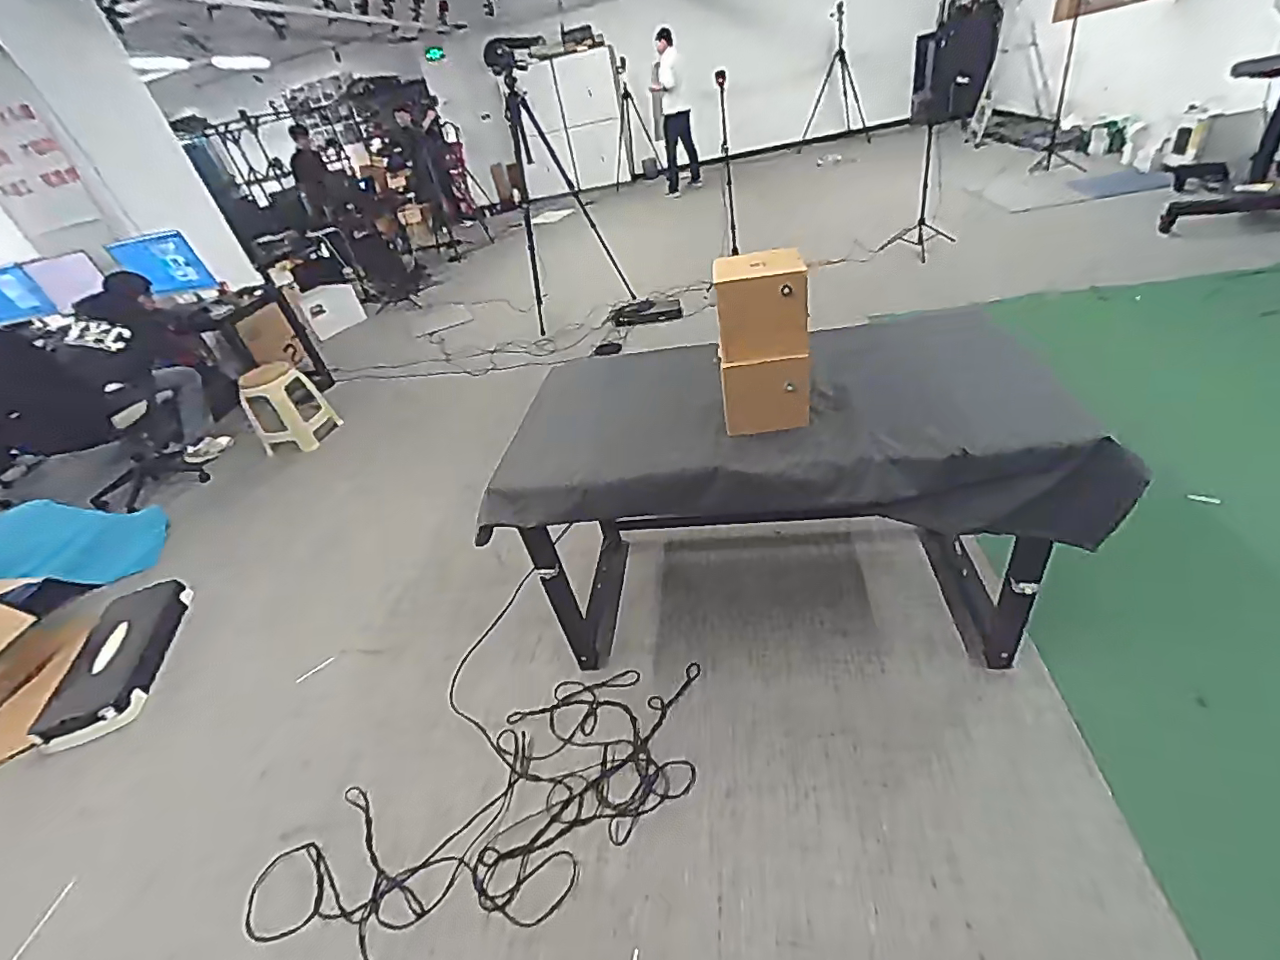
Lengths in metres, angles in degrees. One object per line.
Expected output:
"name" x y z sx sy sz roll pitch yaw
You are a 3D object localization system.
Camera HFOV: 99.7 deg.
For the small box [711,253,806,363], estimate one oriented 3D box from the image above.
"small box" 0.245 -0.351 1.115 0.179 0.176 0.168 -4 36 11
